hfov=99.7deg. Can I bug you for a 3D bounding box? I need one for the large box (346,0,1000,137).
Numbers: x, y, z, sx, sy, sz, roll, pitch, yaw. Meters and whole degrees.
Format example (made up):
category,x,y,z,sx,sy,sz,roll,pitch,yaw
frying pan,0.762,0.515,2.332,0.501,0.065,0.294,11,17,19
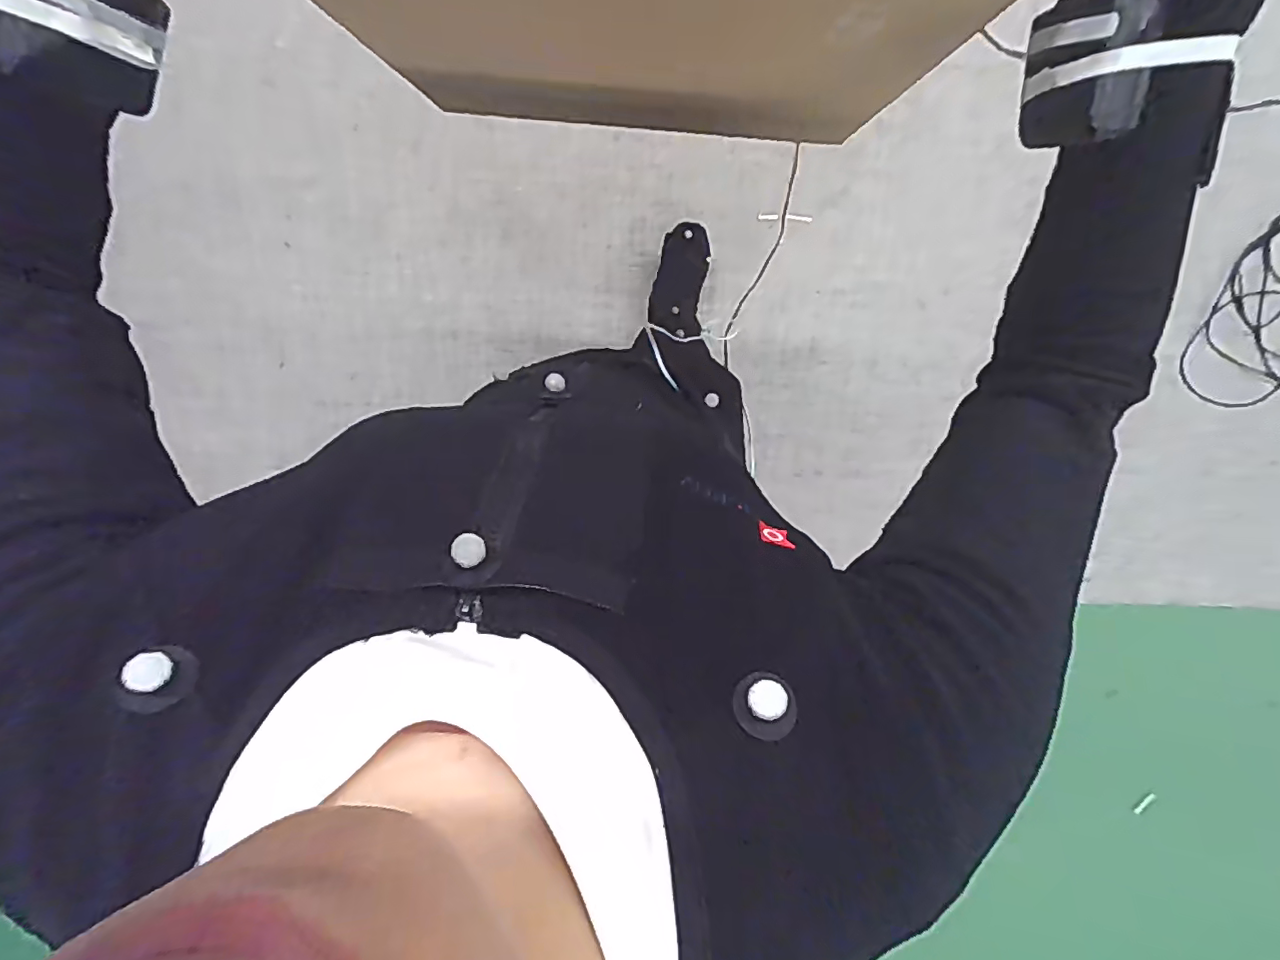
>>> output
category,x,y,z,sx,sy,sz,roll,pitch,yaw
large box,0.016,-0.453,0.356,0.408,0.320,0.320,4,109,-1
